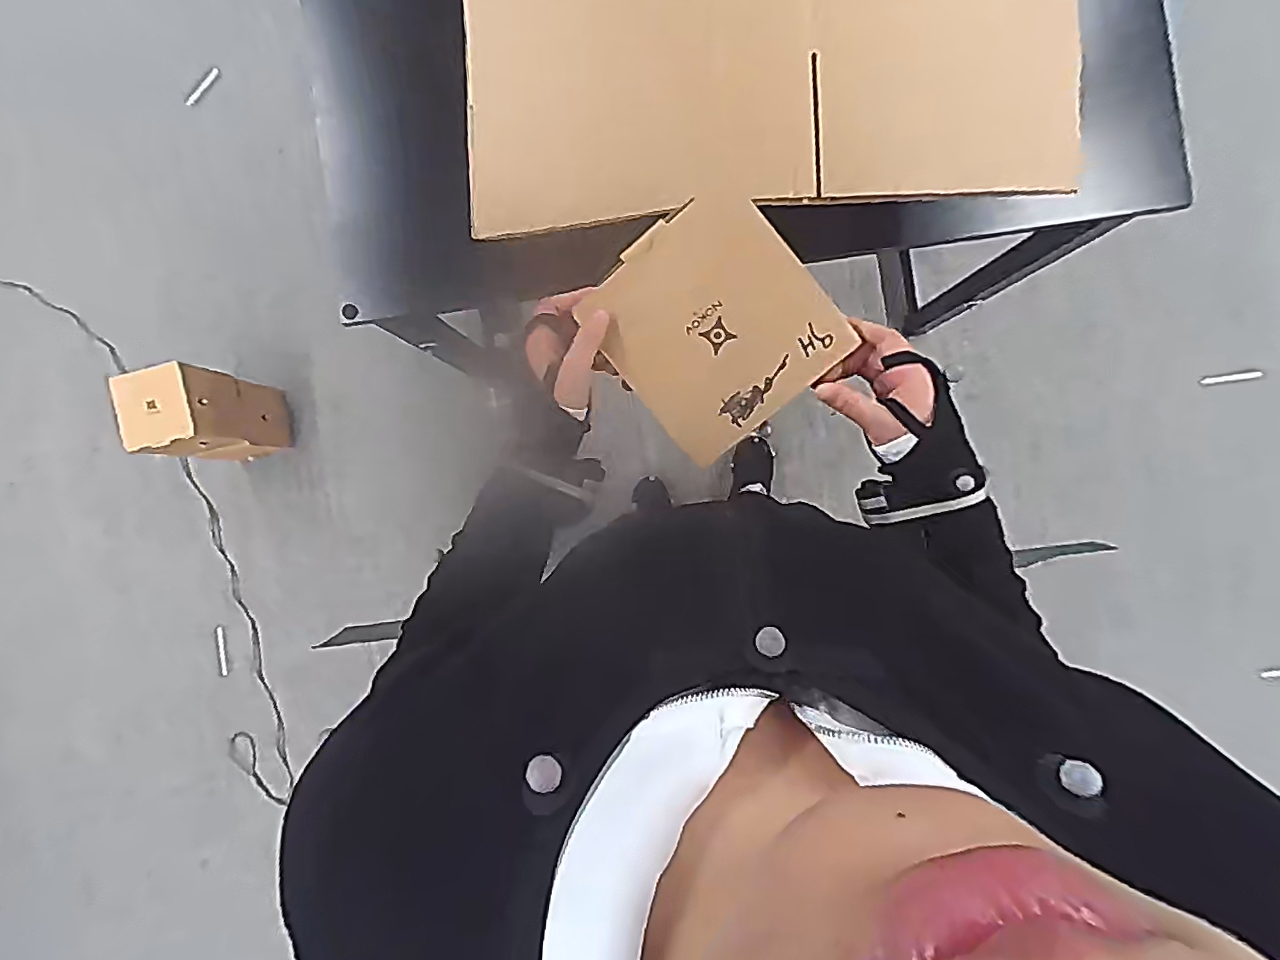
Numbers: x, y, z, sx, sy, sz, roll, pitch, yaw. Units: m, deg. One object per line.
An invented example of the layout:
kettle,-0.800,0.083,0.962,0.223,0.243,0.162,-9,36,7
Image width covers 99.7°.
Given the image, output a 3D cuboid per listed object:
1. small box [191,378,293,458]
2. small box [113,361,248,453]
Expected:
small box,-1.080,-0.160,1.457,0.168,0.176,0.179,-11,90,2
small box,-1.088,-0.166,1.295,0.168,0.176,0.179,-15,88,1
